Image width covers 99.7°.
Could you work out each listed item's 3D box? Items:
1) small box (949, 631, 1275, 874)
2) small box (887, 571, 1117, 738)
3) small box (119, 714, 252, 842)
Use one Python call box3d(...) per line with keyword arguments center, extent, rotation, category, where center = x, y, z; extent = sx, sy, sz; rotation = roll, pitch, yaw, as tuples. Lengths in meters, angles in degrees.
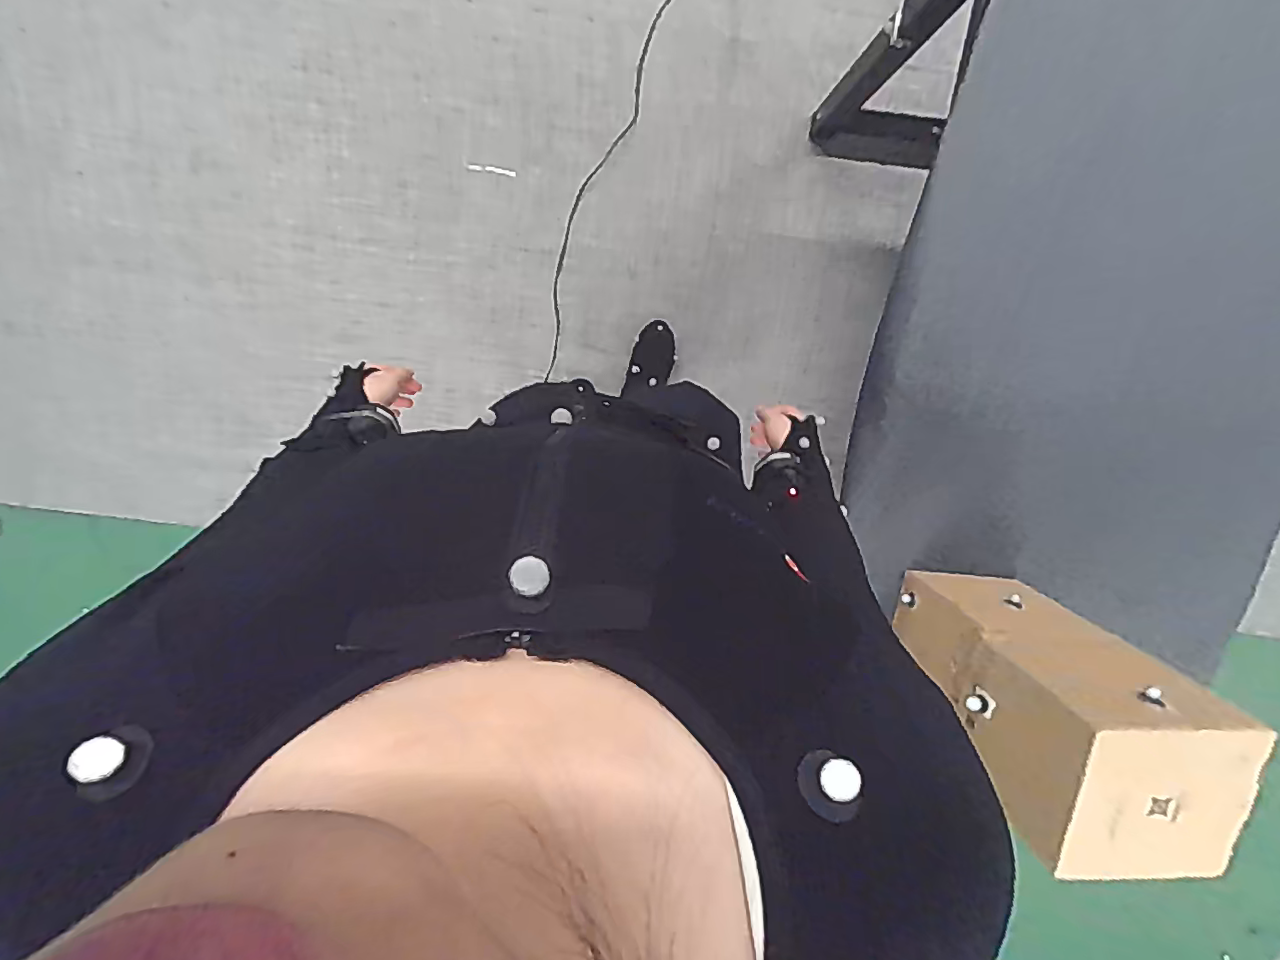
box3d(center=(0.471, 0.273, 0.571), extent=(0.179, 0.176, 0.168), rotation=(2, 103, -4), category="small box")
box3d(center=(0.466, 0.232, 0.729), extent=(0.179, 0.176, 0.168), rotation=(5, 104, -6), category="small box")
box3d(center=(-1.017, 0.670, 1.226), extent=(0.168, 0.176, 0.179), rotation=(10, 105, -3), category="small box")
